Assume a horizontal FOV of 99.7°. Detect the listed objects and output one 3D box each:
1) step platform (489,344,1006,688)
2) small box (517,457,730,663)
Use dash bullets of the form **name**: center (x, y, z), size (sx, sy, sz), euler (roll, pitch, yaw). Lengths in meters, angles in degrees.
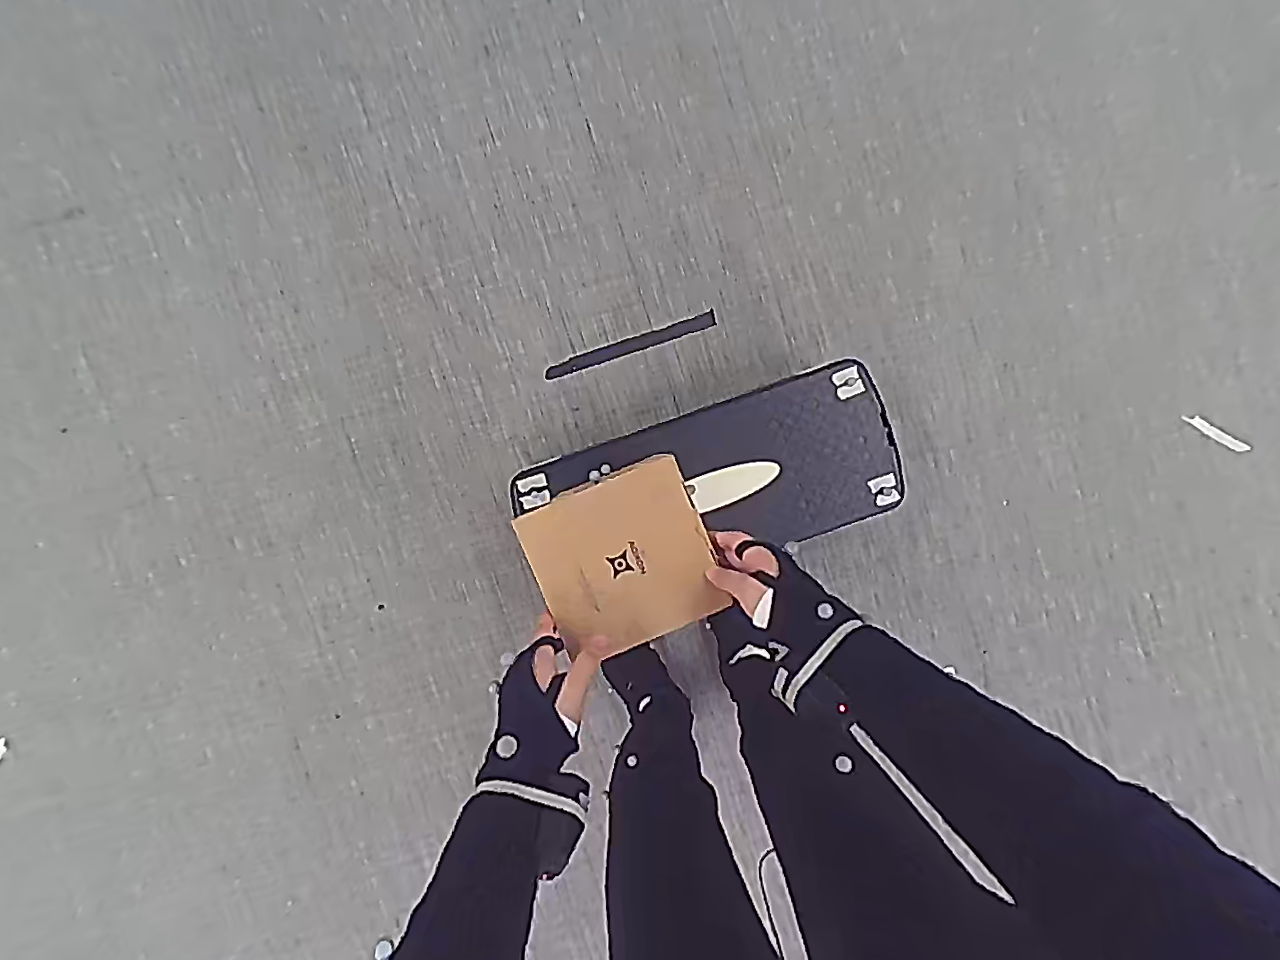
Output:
- **step platform**: center (0.144, 0.047, 0.808), size (0.684, 0.204, 0.286), euler (-19, 93, -2)
- **small box**: center (-0.018, 0.079, 0.629), size (0.179, 0.176, 0.168), euler (-23, 91, 1)
